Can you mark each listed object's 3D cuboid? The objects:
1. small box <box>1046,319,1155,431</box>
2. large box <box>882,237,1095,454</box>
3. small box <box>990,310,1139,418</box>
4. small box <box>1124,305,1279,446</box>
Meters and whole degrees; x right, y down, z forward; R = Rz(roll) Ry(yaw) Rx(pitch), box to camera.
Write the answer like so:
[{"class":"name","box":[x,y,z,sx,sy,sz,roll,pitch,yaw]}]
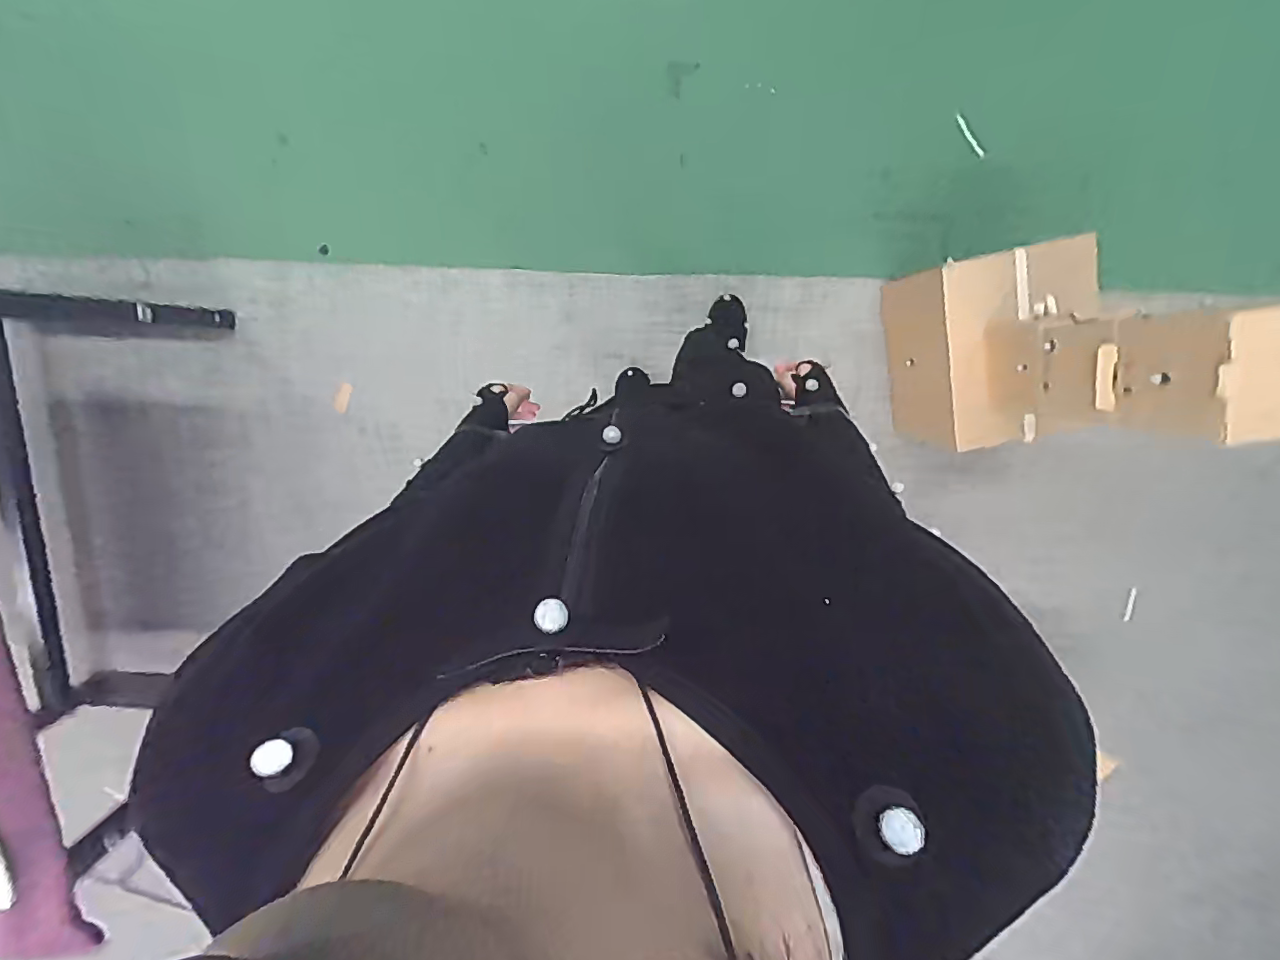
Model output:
[{"class":"small box","box":[0.817,-0.178,0.897,0.179,0.176,0.168,-6,103,3]},{"class":"large box","box":[0.812,-0.304,1.288,0.320,0.320,0.408,-12,101,2]},{"class":"small box","box":[0.815,-0.224,1.055,0.168,0.176,0.179,-8,103,4]},{"class":"small box","box":[0.815,-0.146,0.736,0.179,0.176,0.168,-7,103,5]}]
